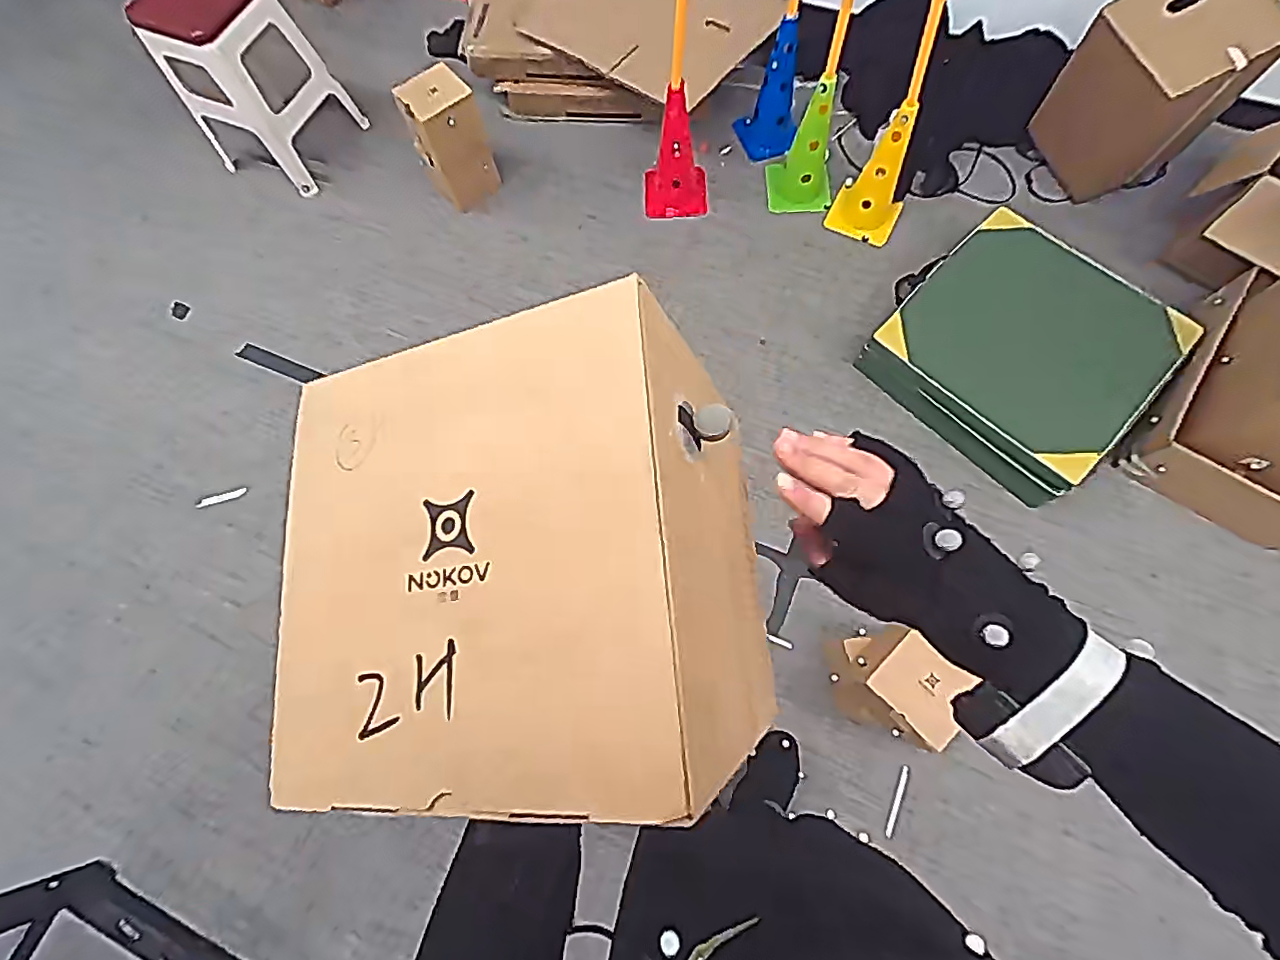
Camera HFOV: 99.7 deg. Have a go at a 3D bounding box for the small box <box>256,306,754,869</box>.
[{"bbox_3d":[-0.044,0.046,0.269,0.168,0.176,0.179,-7,78,23],"label":"small box"}]

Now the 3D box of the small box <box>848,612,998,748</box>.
[{"bbox_3d":[0.532,0.382,1.052,0.179,0.176,0.168,-42,76,-10],"label":"small box"}]

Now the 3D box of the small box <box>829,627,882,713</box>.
[{"bbox_3d":[0.541,0.420,1.214,0.179,0.176,0.168,-10,72,-1],"label":"small box"}]
